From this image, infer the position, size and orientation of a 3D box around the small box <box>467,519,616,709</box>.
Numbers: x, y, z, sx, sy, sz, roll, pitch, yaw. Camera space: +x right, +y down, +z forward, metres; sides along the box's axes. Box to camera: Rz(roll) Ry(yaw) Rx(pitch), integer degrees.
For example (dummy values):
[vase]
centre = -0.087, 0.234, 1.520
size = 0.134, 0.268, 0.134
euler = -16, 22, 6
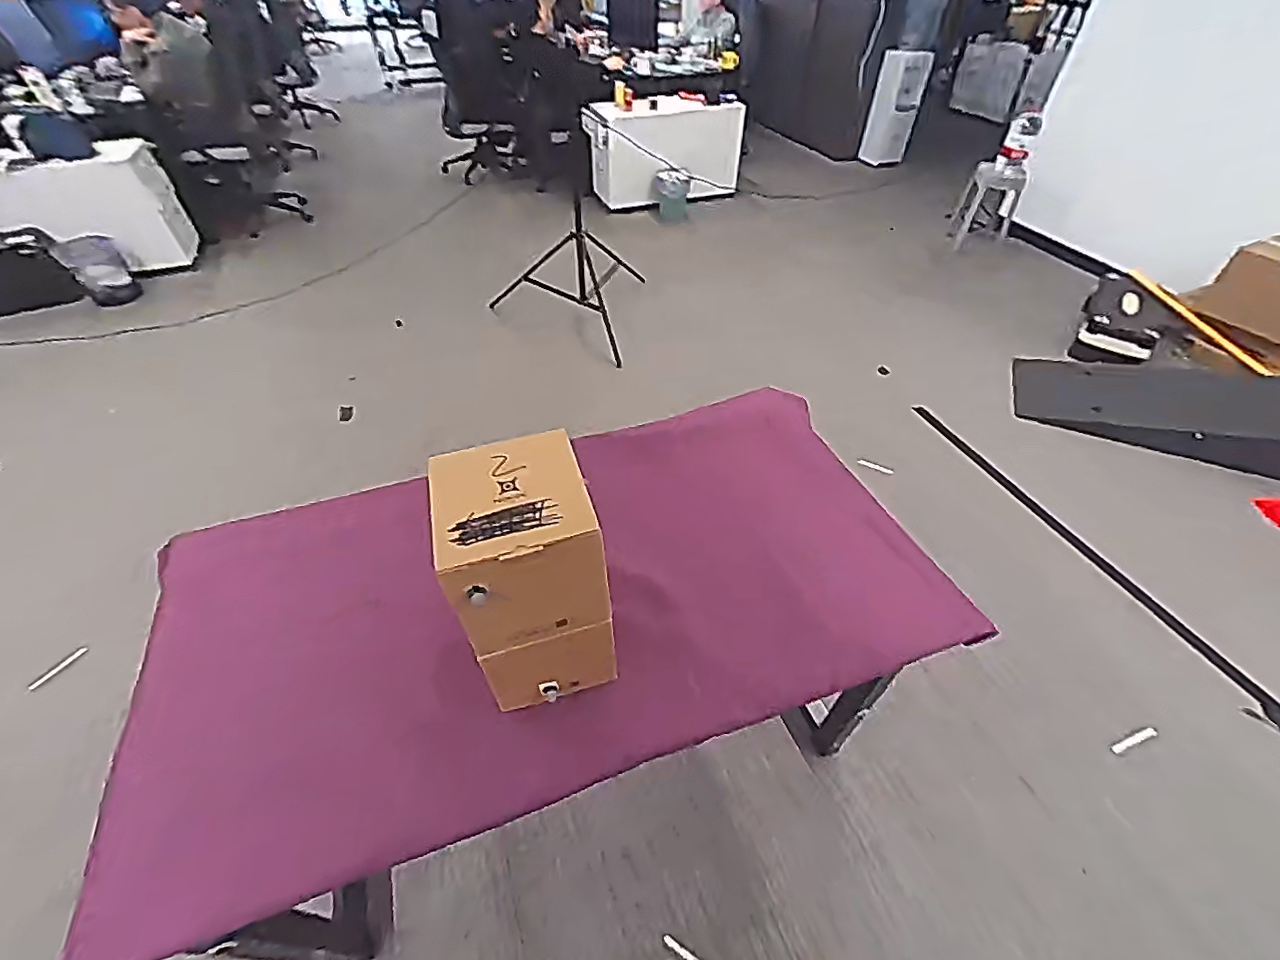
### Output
[small box]
centre = -0.136, 0.187, 0.761
size = 0.168, 0.176, 0.179
euler = -14, 48, -12
